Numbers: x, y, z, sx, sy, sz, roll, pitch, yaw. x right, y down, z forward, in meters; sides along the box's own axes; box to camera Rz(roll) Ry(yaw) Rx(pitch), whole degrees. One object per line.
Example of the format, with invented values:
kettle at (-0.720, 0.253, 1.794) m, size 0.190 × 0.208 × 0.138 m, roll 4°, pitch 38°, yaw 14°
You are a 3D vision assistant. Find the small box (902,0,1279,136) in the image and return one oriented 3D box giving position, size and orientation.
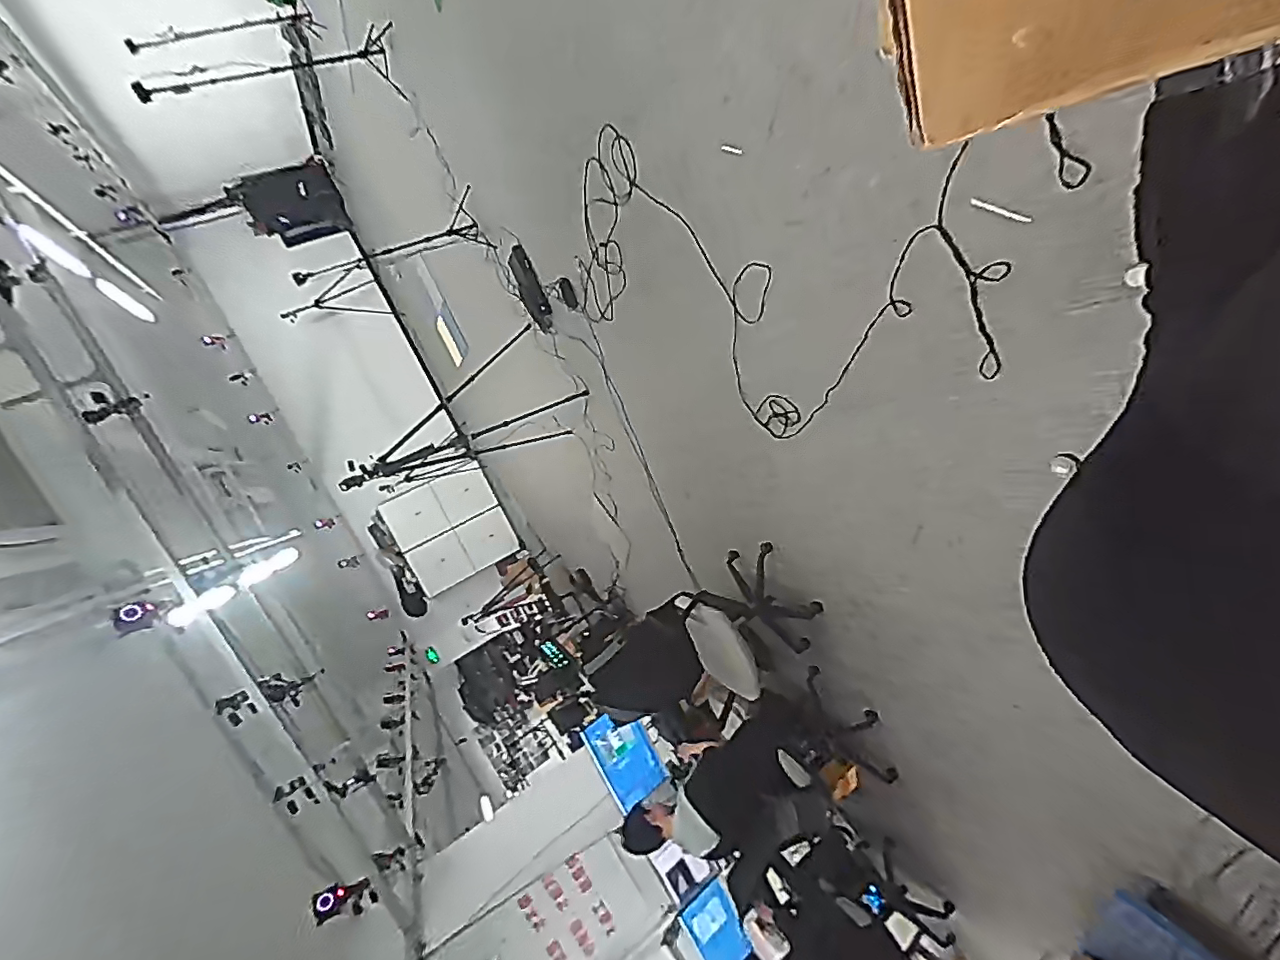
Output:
small box at (0.165, -0.249, 0.150) m, size 0.176 × 0.179 × 0.168 m, roll -3°, pitch 85°, yaw 32°
